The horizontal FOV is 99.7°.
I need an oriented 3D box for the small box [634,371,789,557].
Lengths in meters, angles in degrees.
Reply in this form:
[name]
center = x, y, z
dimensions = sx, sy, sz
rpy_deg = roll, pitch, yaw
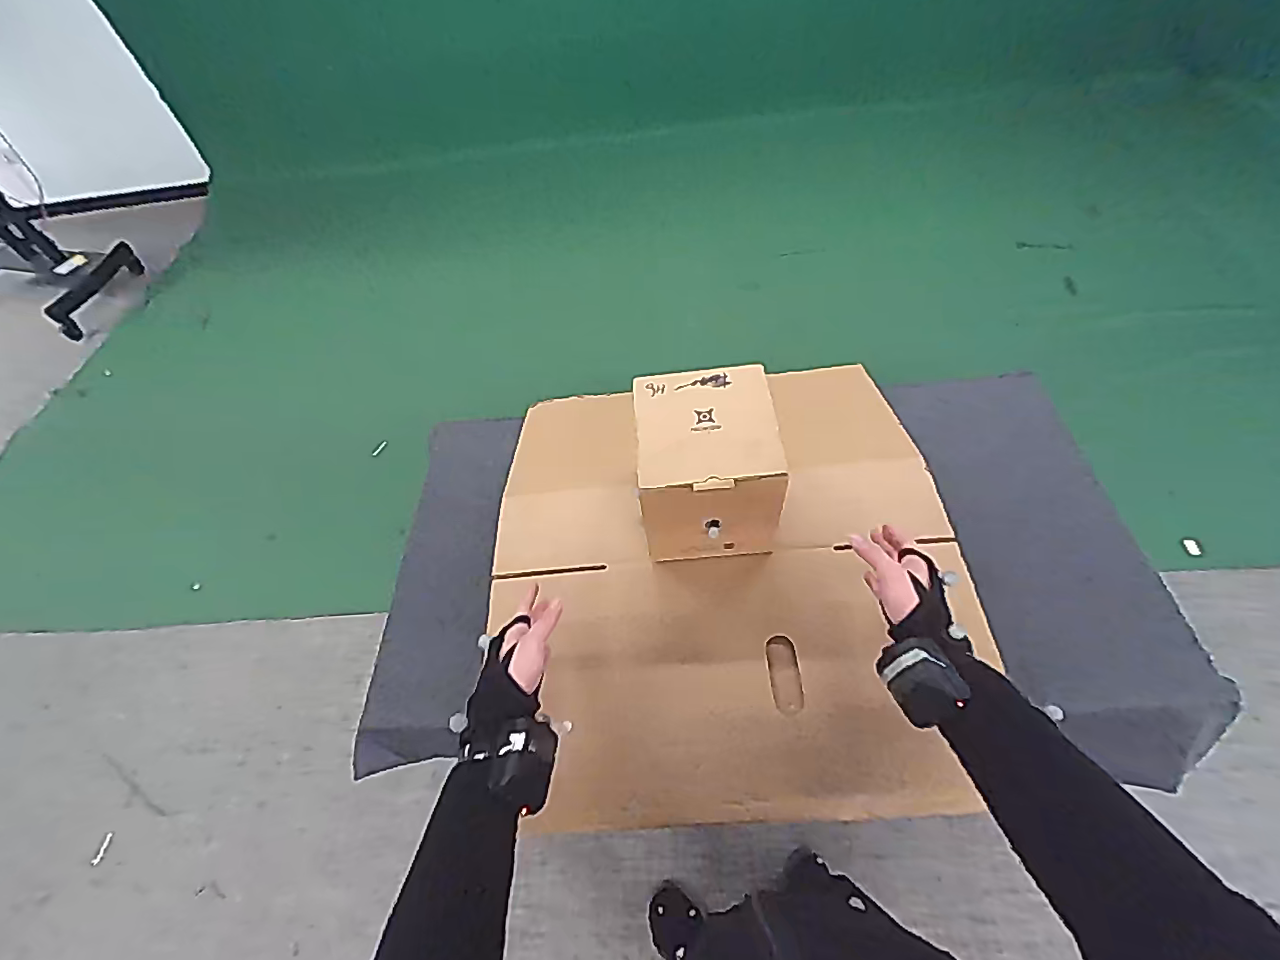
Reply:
[small box]
center = 0.089, -0.012, 0.703
dimensions = 0.168, 0.176, 0.179
rpy_deg = -8, 53, 3
